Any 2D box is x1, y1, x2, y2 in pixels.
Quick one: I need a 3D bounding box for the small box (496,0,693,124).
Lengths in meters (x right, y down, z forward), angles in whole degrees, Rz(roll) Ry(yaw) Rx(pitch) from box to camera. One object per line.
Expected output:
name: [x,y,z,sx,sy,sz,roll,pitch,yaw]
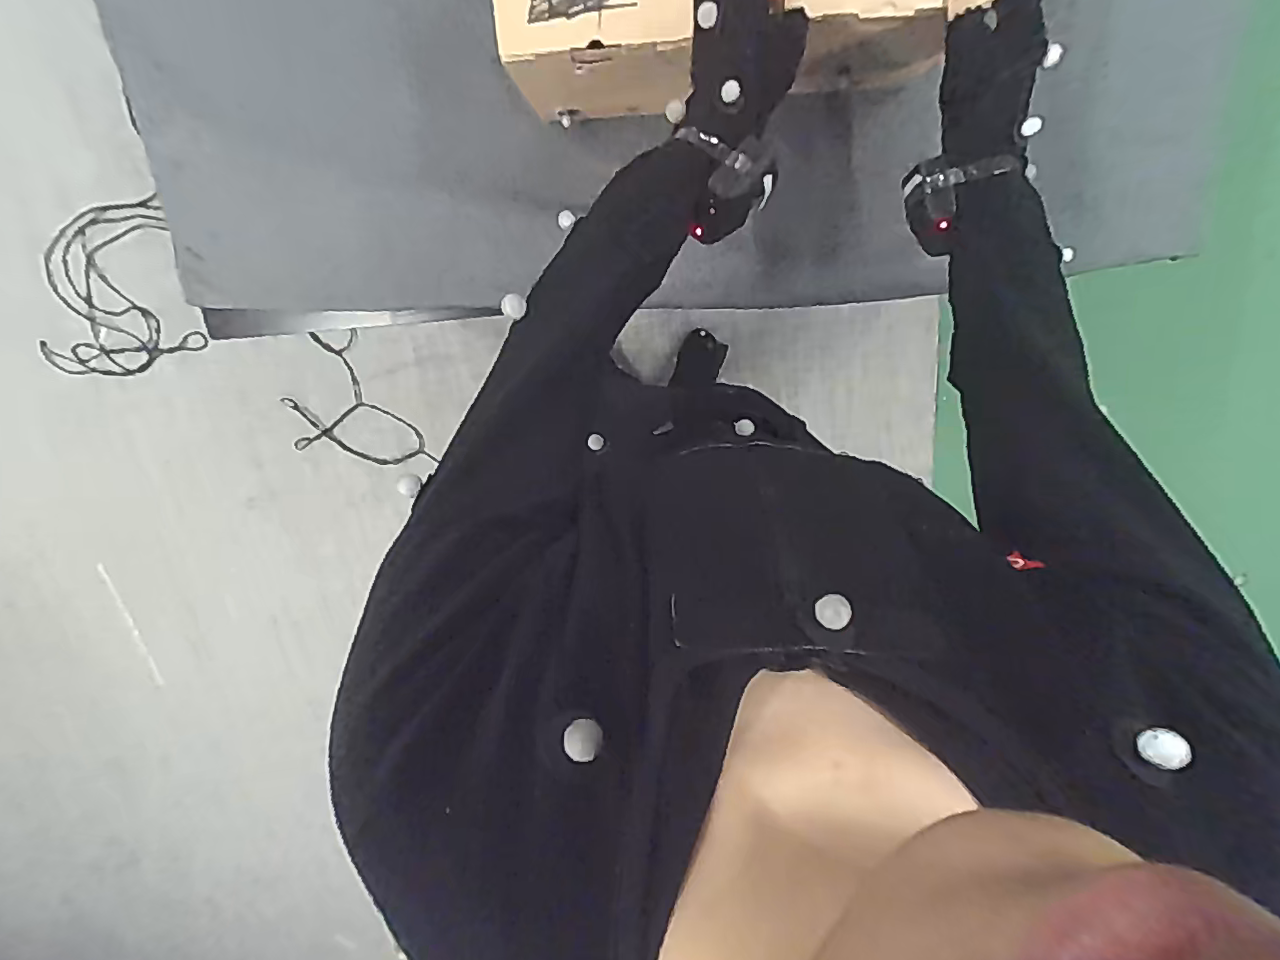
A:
small box: [-0.034,-0.458,0.509,0.168,0.176,0.179,-1,106,4]
